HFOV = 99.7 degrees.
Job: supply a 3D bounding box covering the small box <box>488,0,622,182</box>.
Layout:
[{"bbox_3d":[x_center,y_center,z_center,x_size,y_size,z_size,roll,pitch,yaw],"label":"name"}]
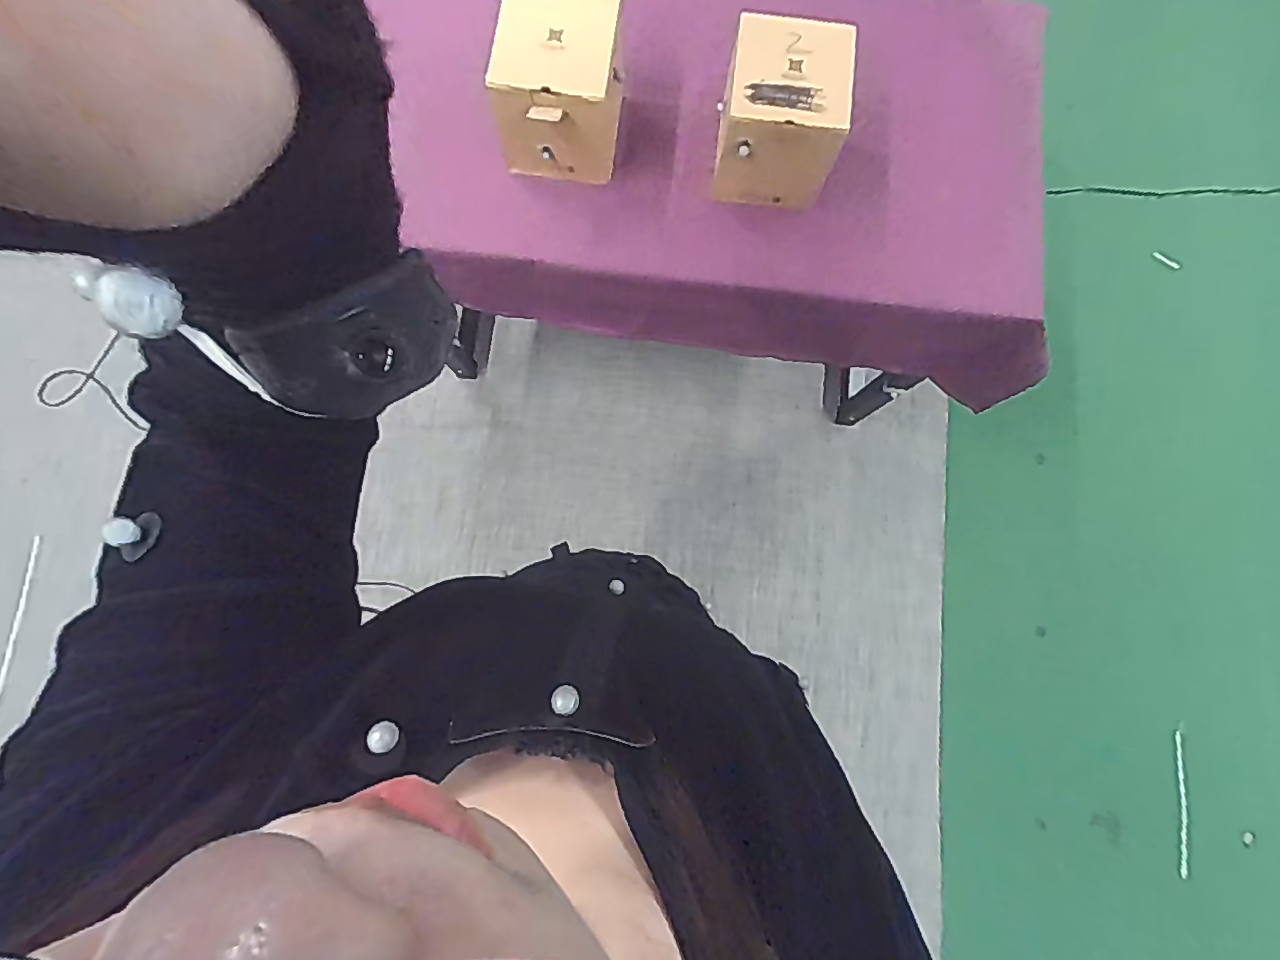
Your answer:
[{"bbox_3d":[-0.122,-0.606,0.839,0.168,0.176,0.179,8,82,0],"label":"small box"}]
